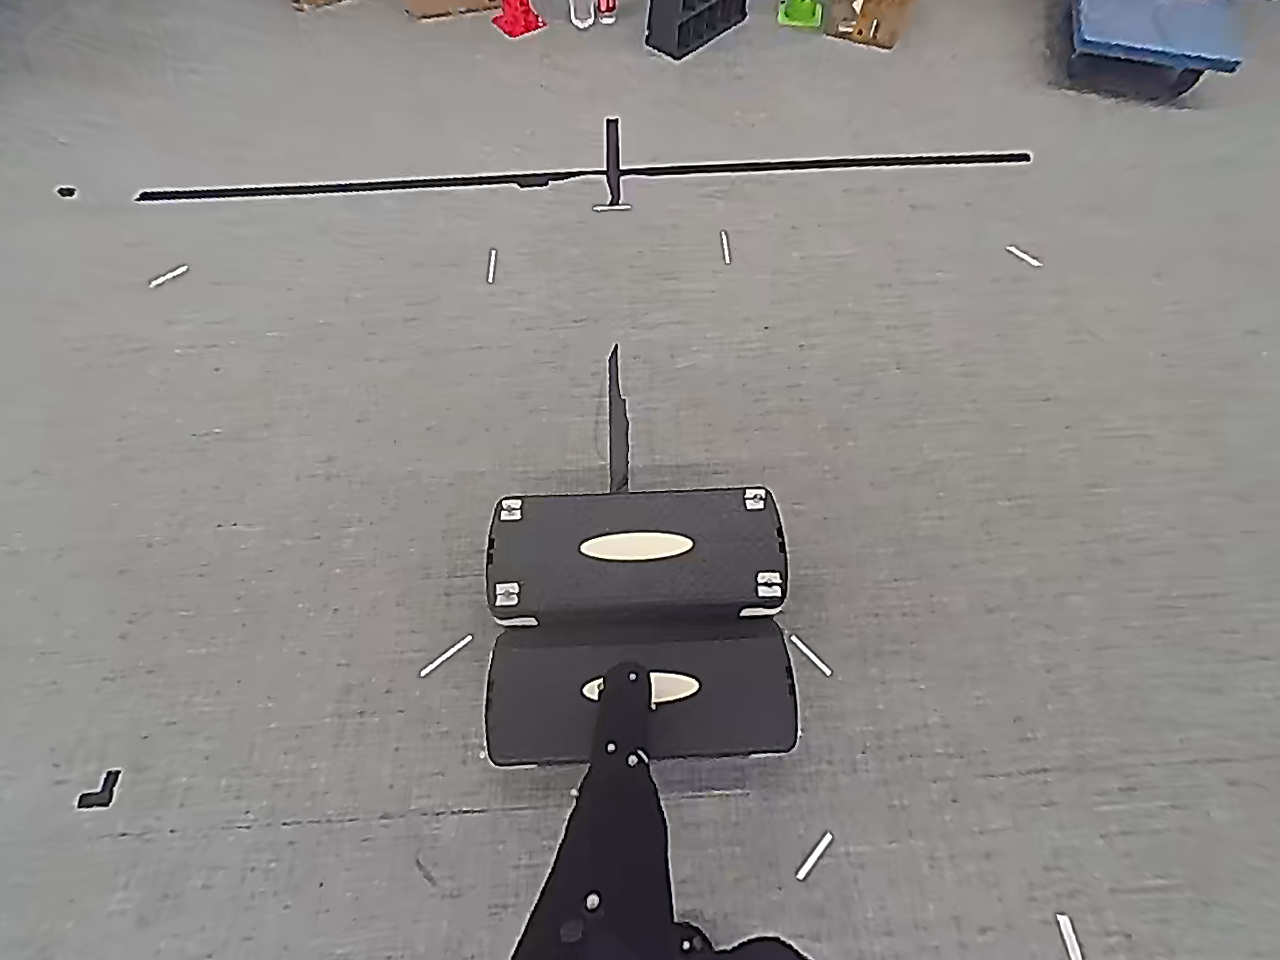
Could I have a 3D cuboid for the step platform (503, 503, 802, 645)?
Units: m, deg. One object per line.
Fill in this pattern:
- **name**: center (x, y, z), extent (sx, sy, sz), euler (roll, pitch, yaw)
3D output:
- **step platform**: center (0.028, 0.220, 1.279), extent (0.684, 0.204, 0.286), euler (2, 63, 0)
